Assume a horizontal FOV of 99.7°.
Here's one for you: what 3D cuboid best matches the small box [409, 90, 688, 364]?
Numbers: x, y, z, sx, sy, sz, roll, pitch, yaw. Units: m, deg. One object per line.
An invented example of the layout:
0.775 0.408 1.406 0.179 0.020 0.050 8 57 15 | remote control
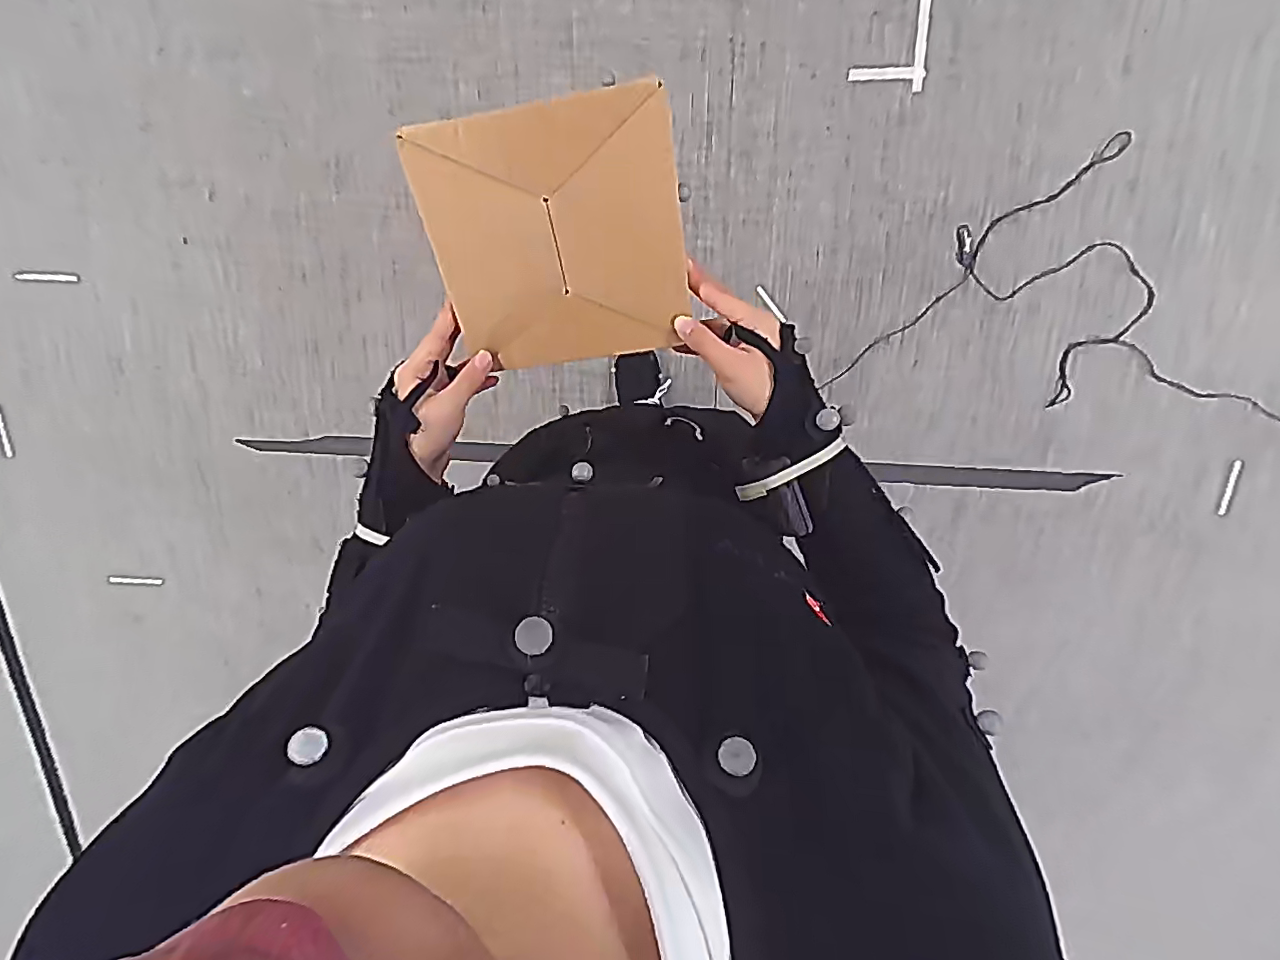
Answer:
-0.059 -0.209 0.447 0.179 0.176 0.168 -6 124 6 | small box
